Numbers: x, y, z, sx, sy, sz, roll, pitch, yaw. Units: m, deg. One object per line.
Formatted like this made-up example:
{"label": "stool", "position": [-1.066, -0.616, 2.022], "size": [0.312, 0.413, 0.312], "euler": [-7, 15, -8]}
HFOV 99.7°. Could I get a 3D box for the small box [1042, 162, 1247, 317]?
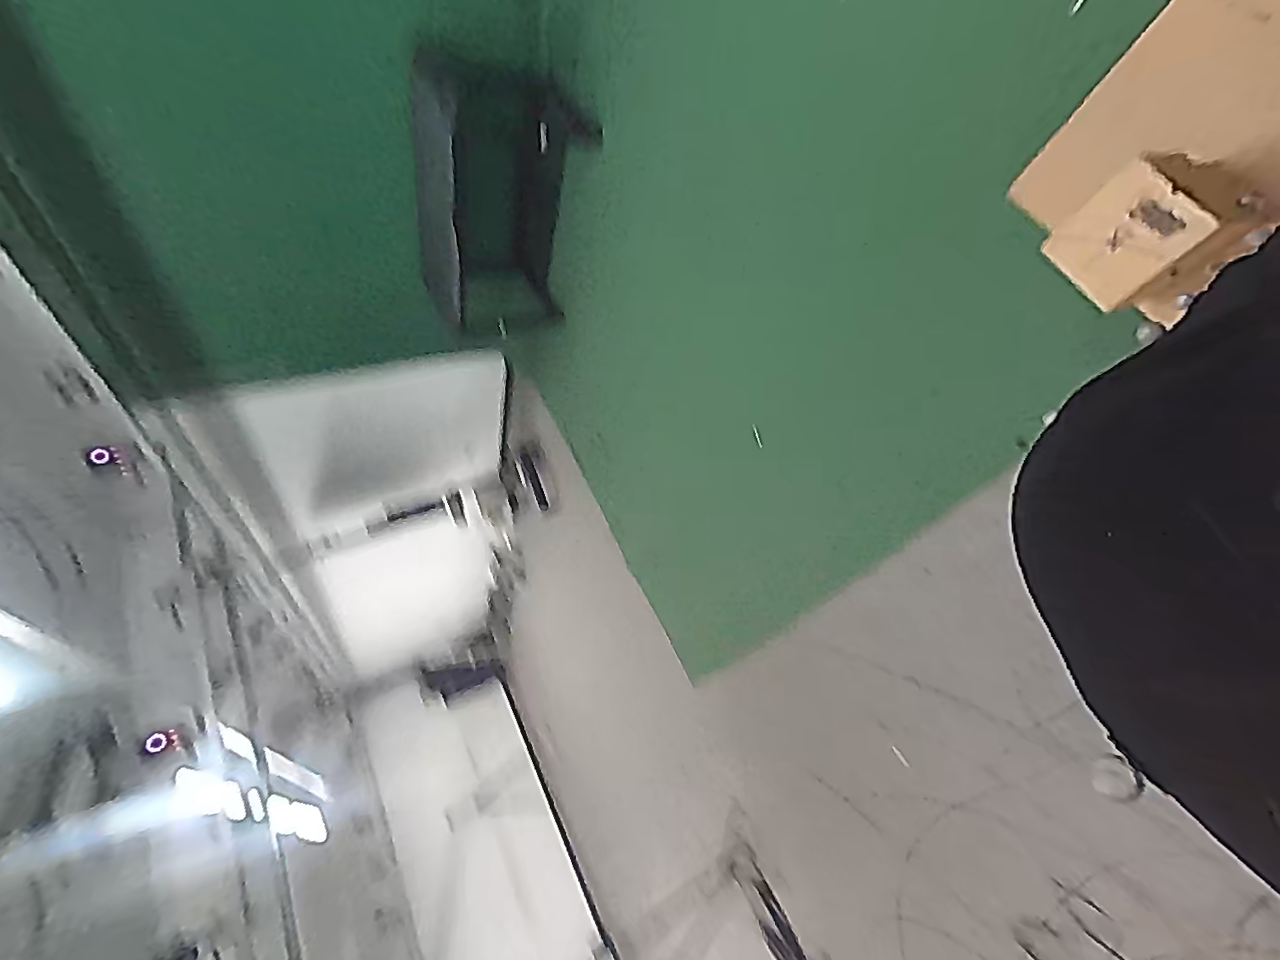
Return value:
{"label": "small box", "position": [0.853, -0.409, 0.914], "size": [0.168, 0.176, 0.179], "euler": [62, 153, 20]}
